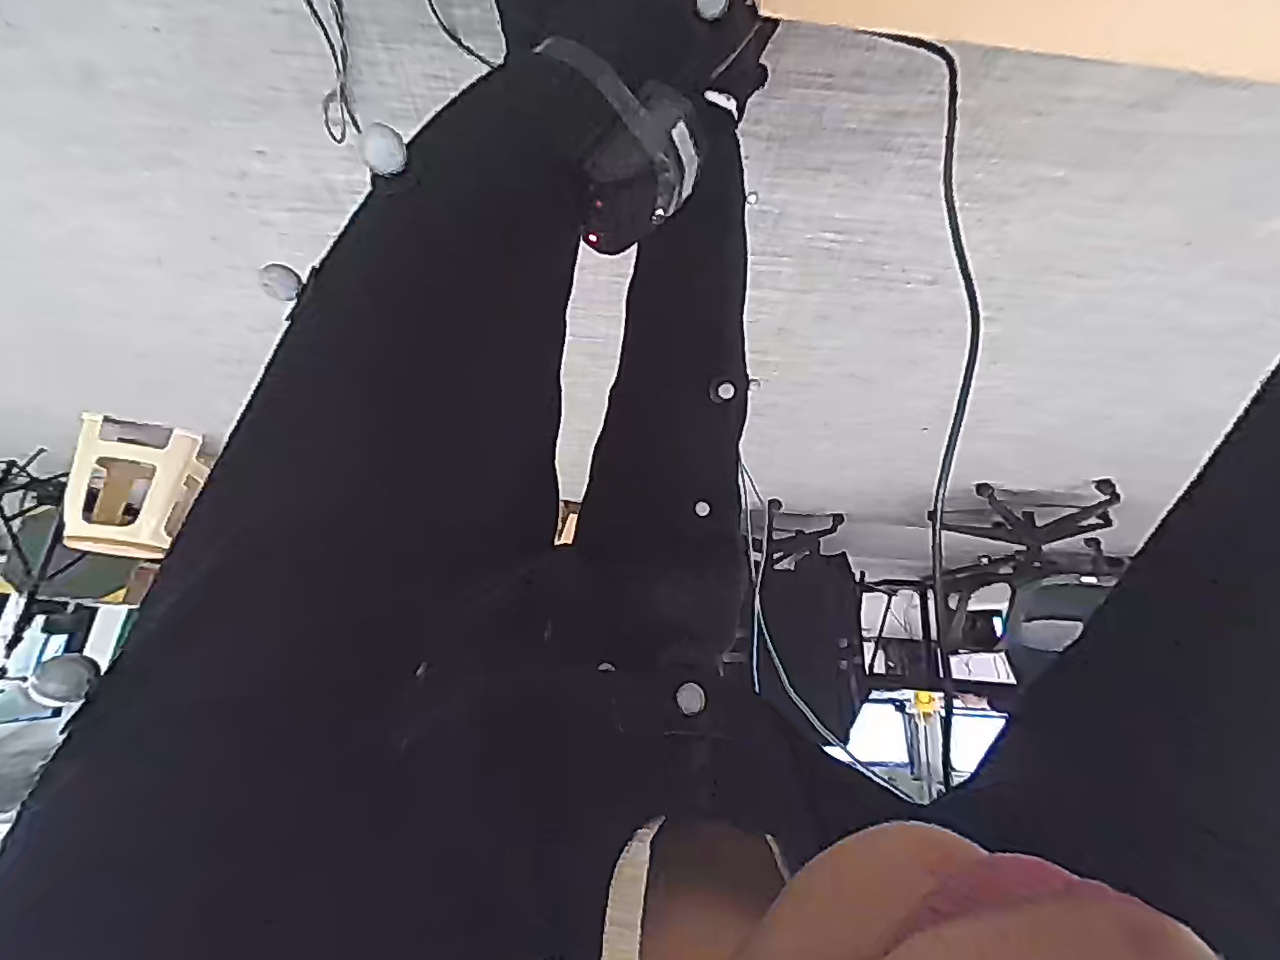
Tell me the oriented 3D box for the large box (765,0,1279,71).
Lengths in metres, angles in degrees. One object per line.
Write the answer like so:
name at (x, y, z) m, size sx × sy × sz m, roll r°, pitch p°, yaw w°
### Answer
large box at (0.289, -0.455, 0.240) m, size 0.408 × 0.320 × 0.320 m, roll 6°, pitch 162°, yaw 0°
